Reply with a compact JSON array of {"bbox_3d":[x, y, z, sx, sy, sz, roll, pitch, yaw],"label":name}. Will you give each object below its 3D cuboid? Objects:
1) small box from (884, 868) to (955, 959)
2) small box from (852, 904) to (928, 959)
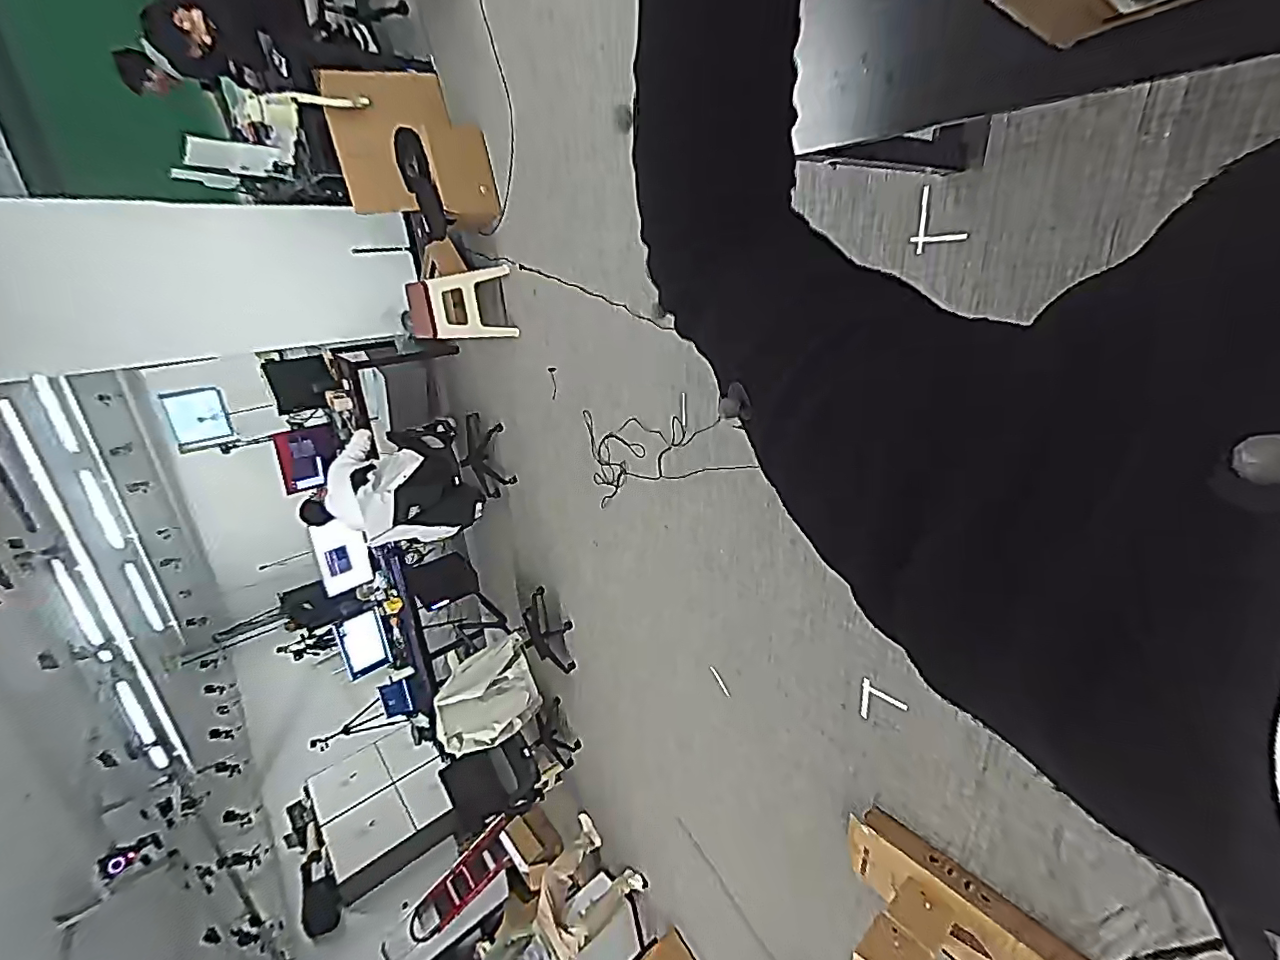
[{"bbox_3d":[0.939,1.485,1.837,0.168,0.176,0.179,26,127,43],"label":"small box"},{"bbox_3d":[0.810,1.547,1.753,0.168,0.176,0.179,21,124,46],"label":"small box"}]
